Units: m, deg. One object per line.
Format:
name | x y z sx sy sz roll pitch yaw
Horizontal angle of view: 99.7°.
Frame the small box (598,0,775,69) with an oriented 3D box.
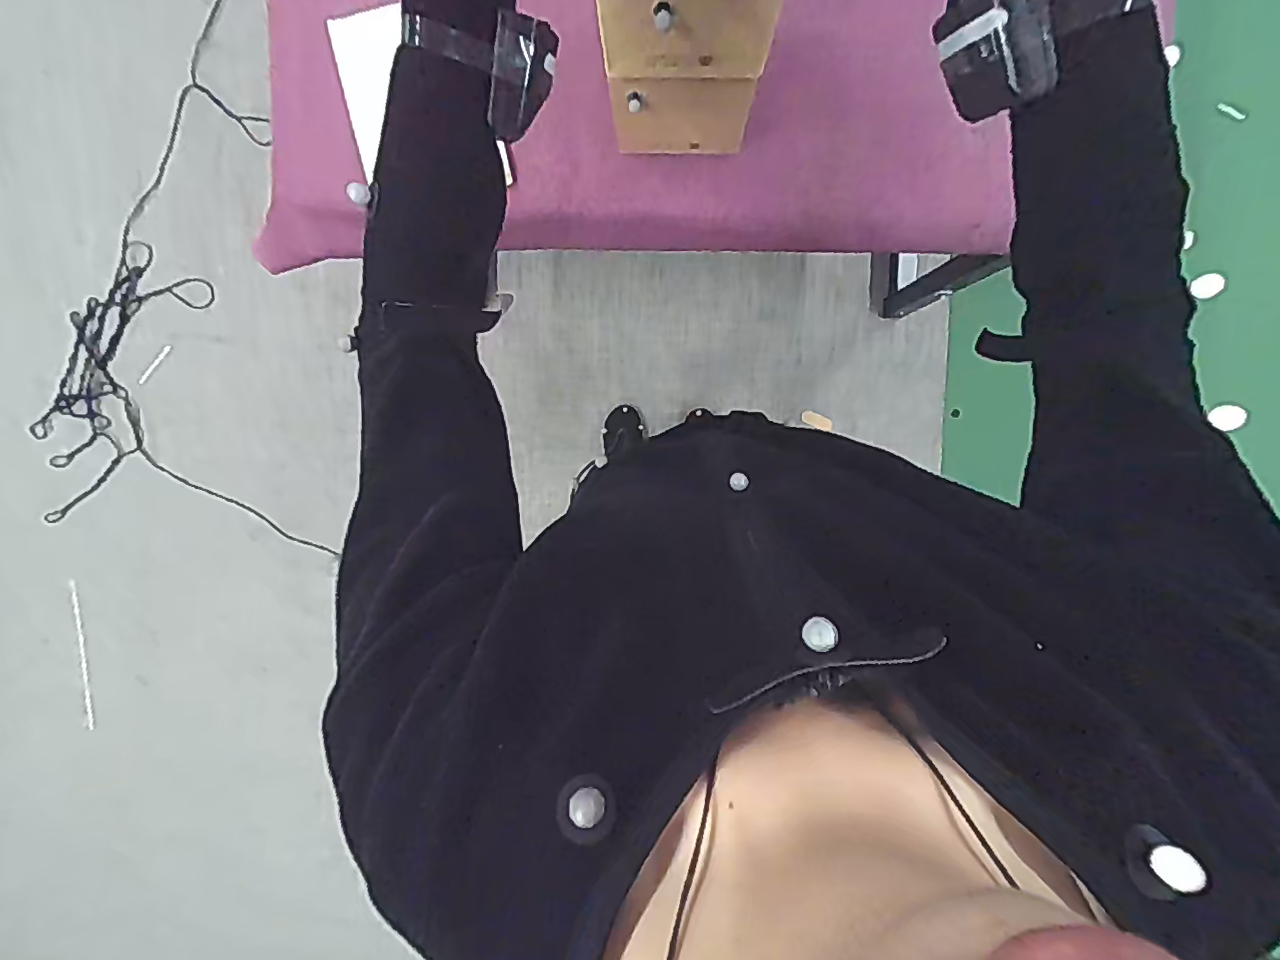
small box | 0.046 -0.514 0.491 0.168 0.176 0.179 2 94 2
